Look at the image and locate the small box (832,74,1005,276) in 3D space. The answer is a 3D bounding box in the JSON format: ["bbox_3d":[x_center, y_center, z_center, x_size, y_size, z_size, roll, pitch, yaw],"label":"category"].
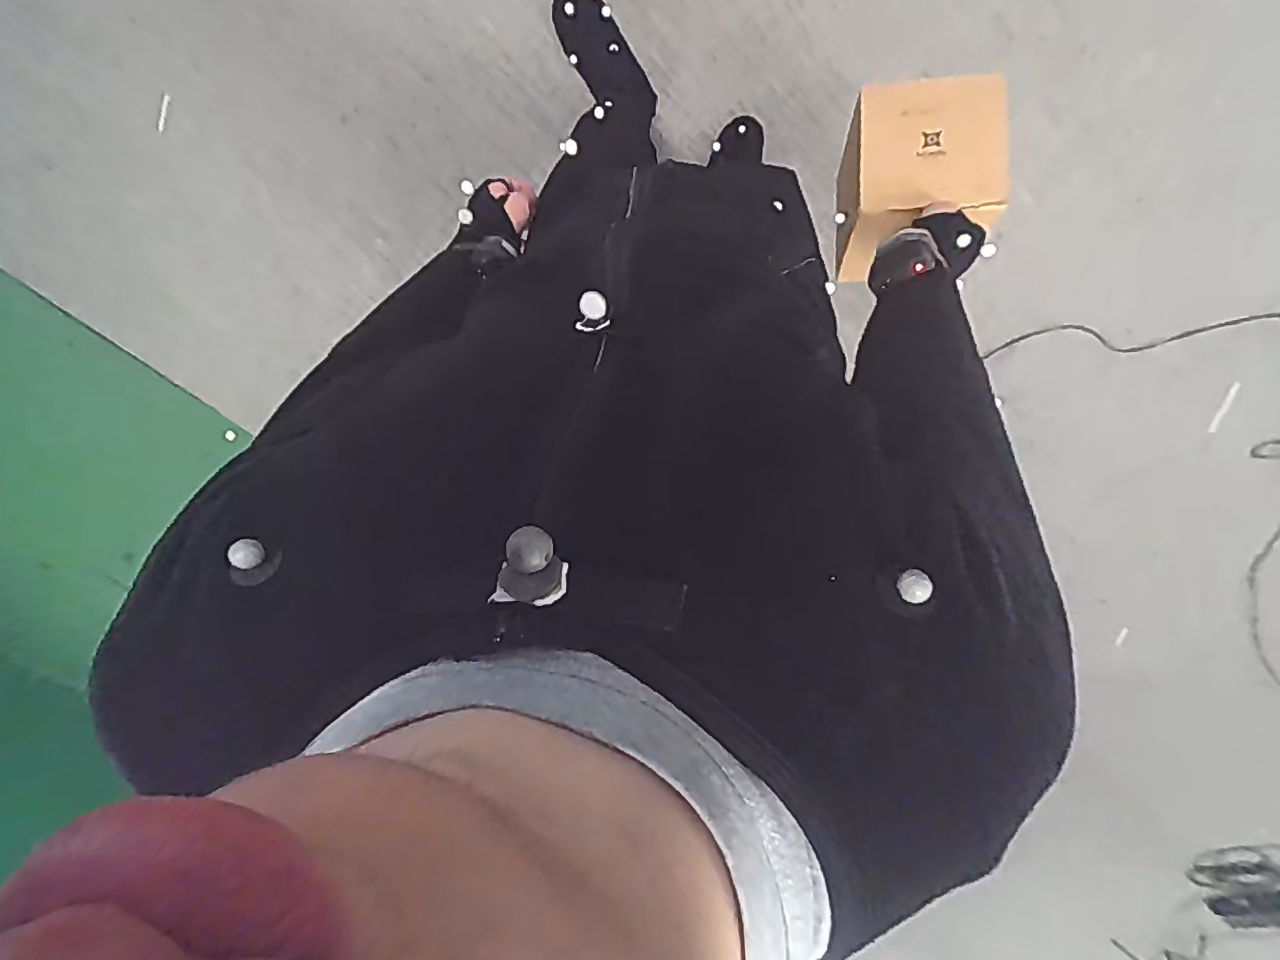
[{"bbox_3d":[0.360,-0.392,0.726,0.168,0.179,0.176,2,170,9],"label":"small box"}]
